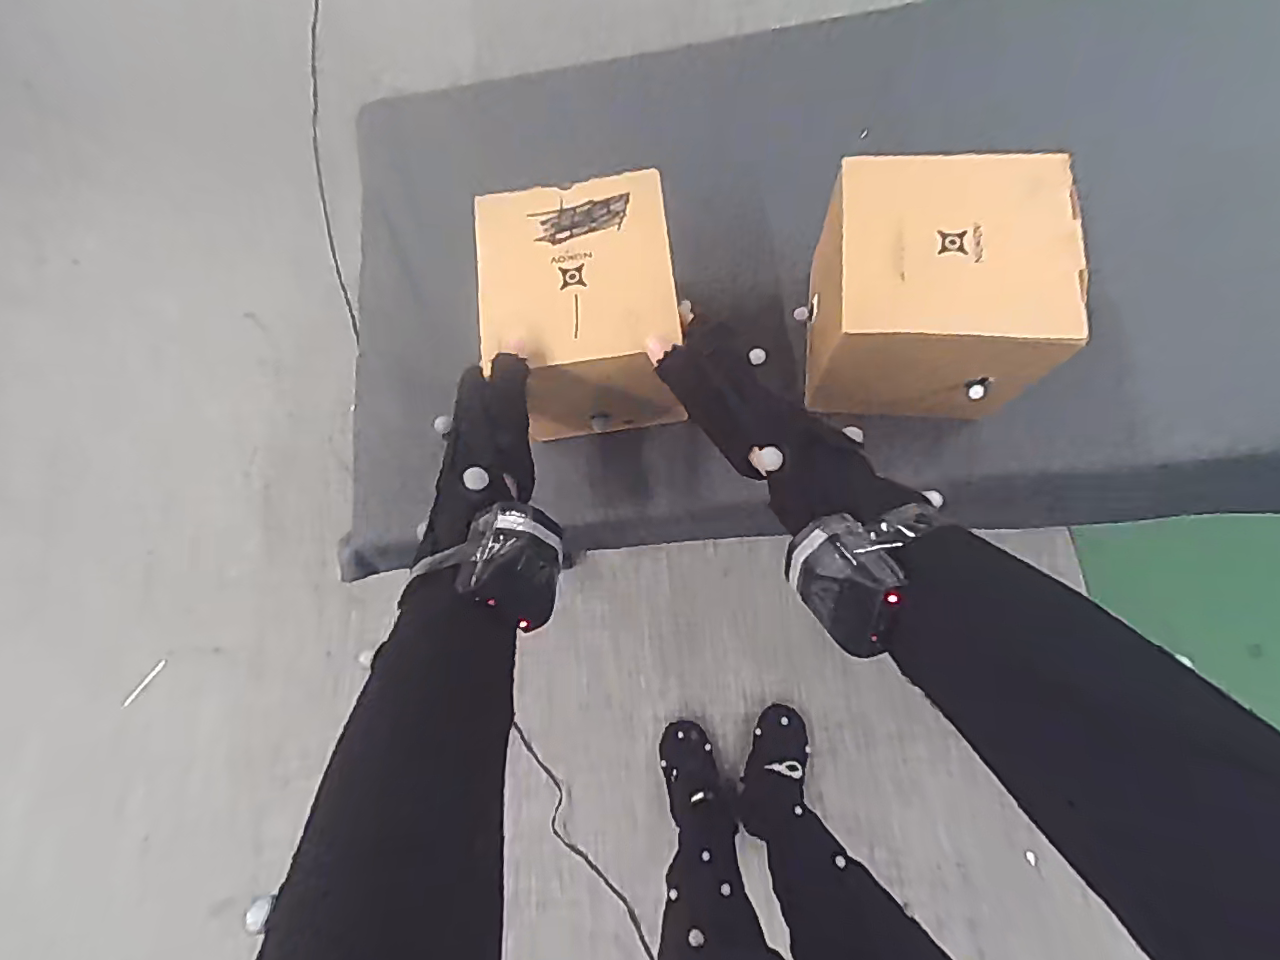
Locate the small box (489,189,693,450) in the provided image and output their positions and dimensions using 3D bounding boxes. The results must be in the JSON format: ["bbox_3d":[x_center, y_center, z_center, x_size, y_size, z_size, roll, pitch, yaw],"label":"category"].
[{"bbox_3d":[-0.040,-0.144,0.533,0.168,0.176,0.179,-7,75,4],"label":"small box"}]

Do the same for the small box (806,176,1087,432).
[{"bbox_3d":[0.262,-0.150,0.504,0.179,0.176,0.168,4,76,9],"label":"small box"}]
